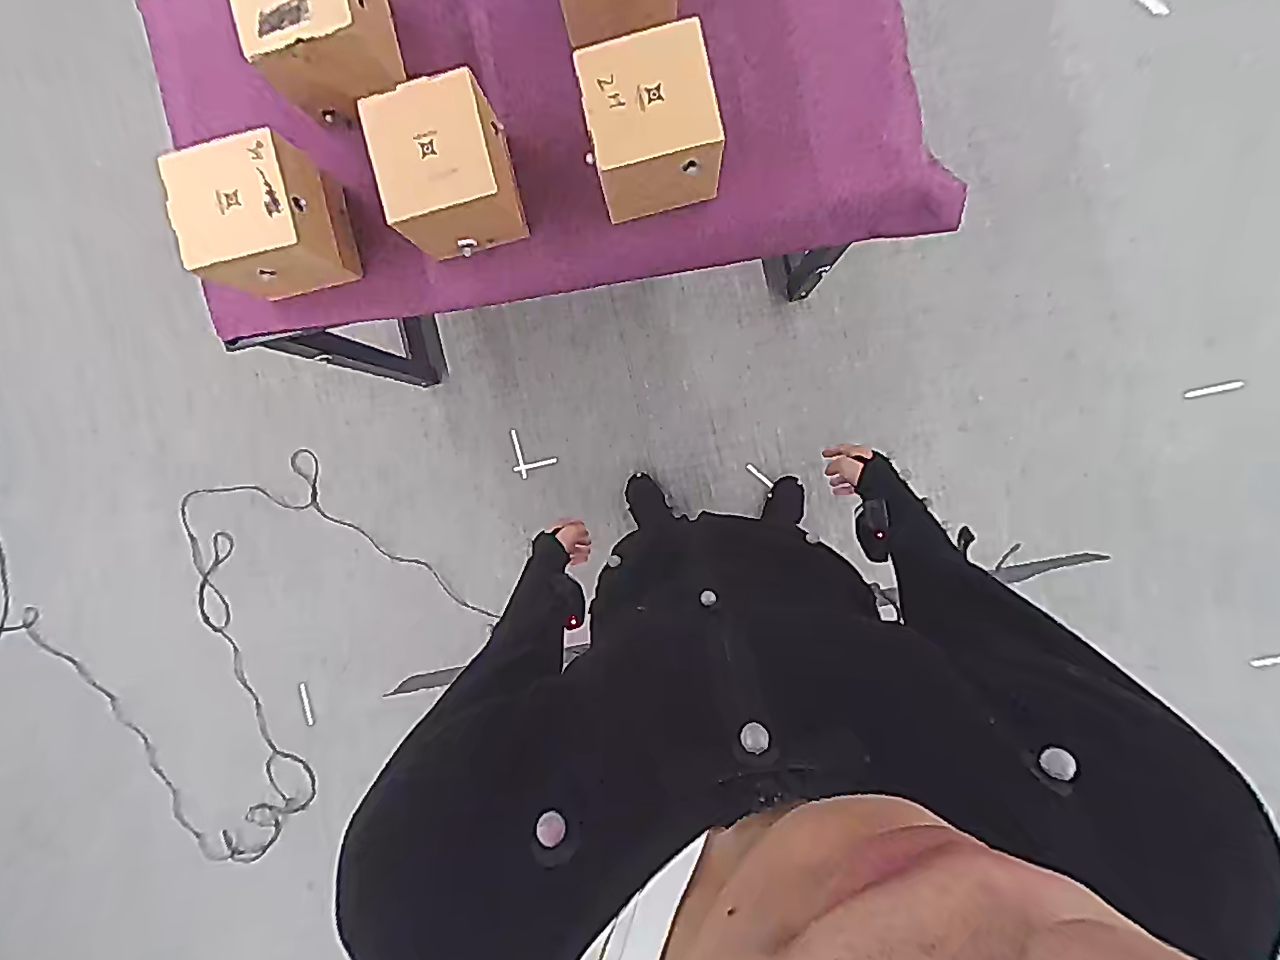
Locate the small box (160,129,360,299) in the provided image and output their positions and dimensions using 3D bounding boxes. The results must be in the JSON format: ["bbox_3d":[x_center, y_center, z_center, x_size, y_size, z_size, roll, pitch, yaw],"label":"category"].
[{"bbox_3d":[-0.580,-0.400,0.847,0.179,0.176,0.168,-12,93,5],"label":"small box"}]

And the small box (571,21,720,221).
[{"bbox_3d":[0.012,-0.516,0.803,0.179,0.176,0.168,-12,92,5],"label":"small box"}]

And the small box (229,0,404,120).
[{"bbox_3d":[-0.489,-0.691,0.828,0.168,0.176,0.179,-13,92,4],"label":"small box"}]

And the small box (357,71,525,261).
[{"bbox_3d":[-0.292,-0.465,0.828,0.168,0.176,0.179,-13,94,5],"label":"small box"}]
